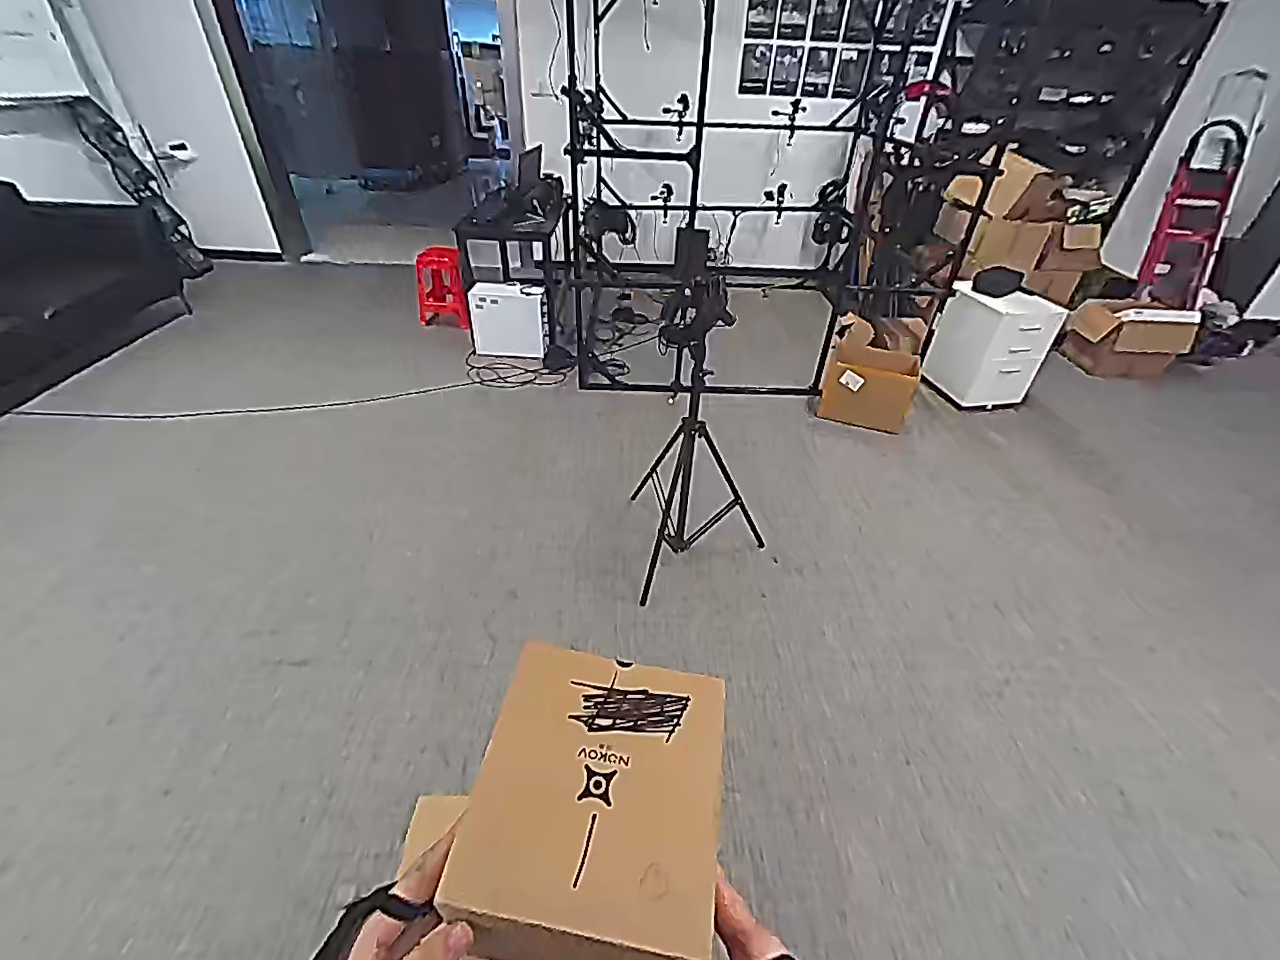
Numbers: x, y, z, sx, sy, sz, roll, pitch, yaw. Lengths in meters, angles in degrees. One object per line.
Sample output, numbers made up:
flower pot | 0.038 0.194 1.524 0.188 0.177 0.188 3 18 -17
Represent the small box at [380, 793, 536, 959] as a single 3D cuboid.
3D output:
small box | -0.252 0.594 0.802 0.168 0.176 0.179 0 39 0
